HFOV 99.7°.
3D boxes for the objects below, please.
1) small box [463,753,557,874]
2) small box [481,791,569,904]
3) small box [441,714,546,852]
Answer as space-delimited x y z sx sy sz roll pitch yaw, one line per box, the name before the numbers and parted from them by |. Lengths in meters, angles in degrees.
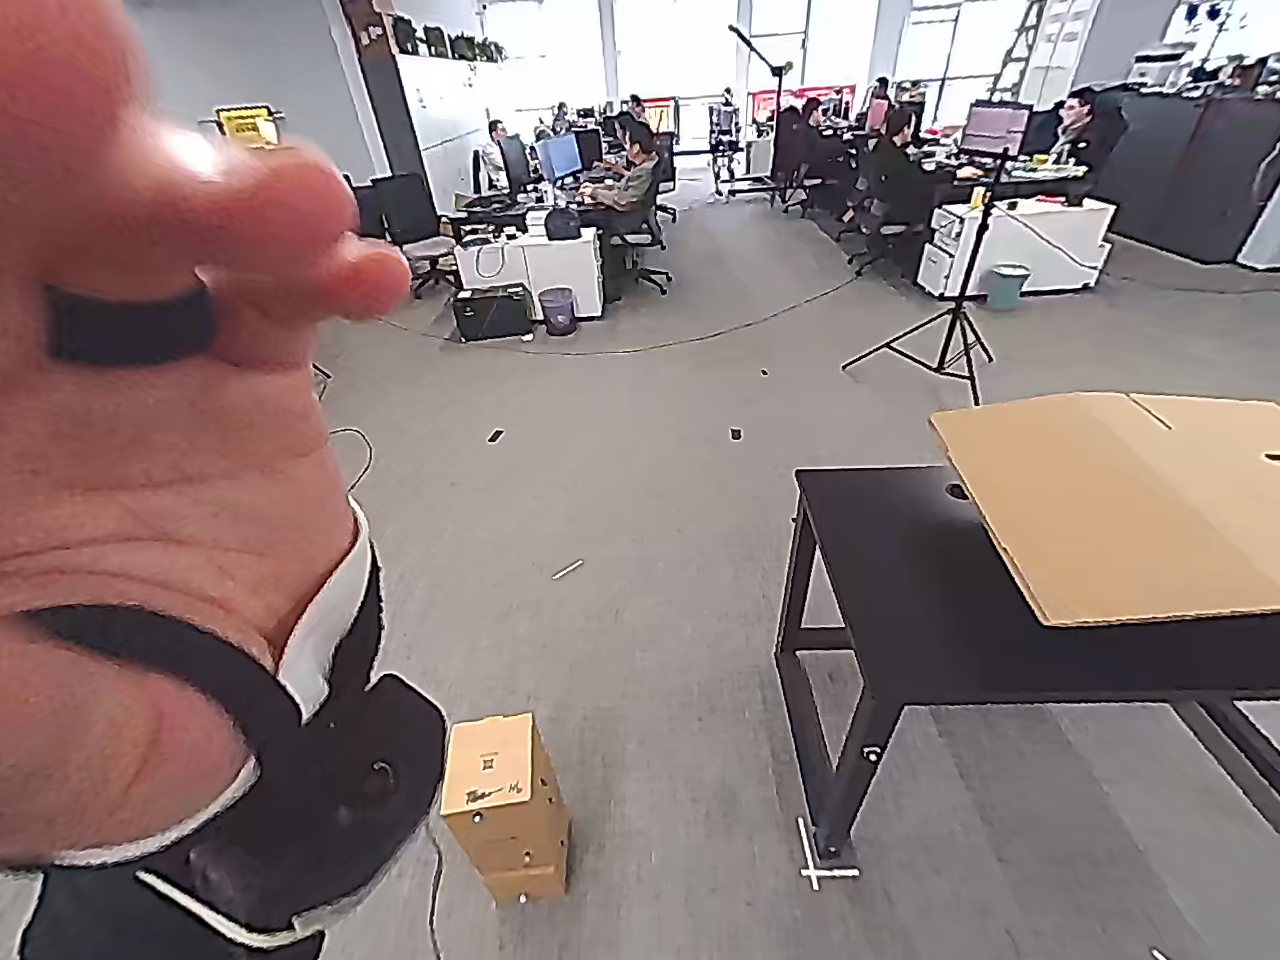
small box | -0.276 0.739 1.194 0.168 0.176 0.179 -6 35 -3
small box | -0.264 0.873 1.285 0.168 0.176 0.179 -5 37 0
small box | -0.285 0.610 1.092 0.168 0.176 0.179 -8 36 -4
